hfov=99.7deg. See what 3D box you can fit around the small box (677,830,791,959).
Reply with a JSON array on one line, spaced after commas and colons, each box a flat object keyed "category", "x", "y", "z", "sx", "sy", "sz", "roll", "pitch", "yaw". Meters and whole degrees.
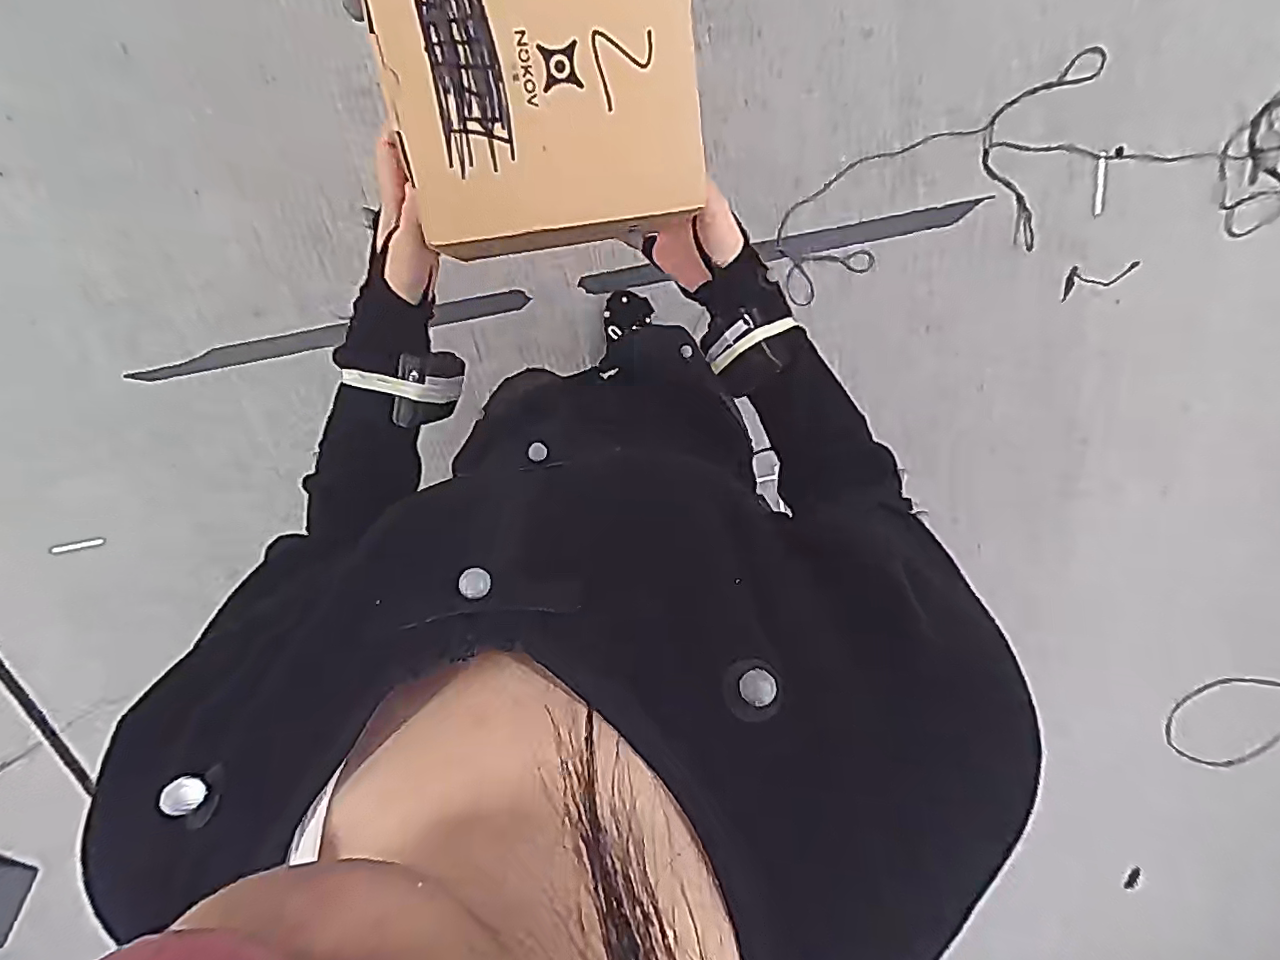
[{"category": "small box", "x": 0.159, "y": 0.757, "z": 0.945, "sx": 0.168, "sy": 0.176, "sz": 0.179, "roll": -6, "pitch": 107, "yaw": -2}]
